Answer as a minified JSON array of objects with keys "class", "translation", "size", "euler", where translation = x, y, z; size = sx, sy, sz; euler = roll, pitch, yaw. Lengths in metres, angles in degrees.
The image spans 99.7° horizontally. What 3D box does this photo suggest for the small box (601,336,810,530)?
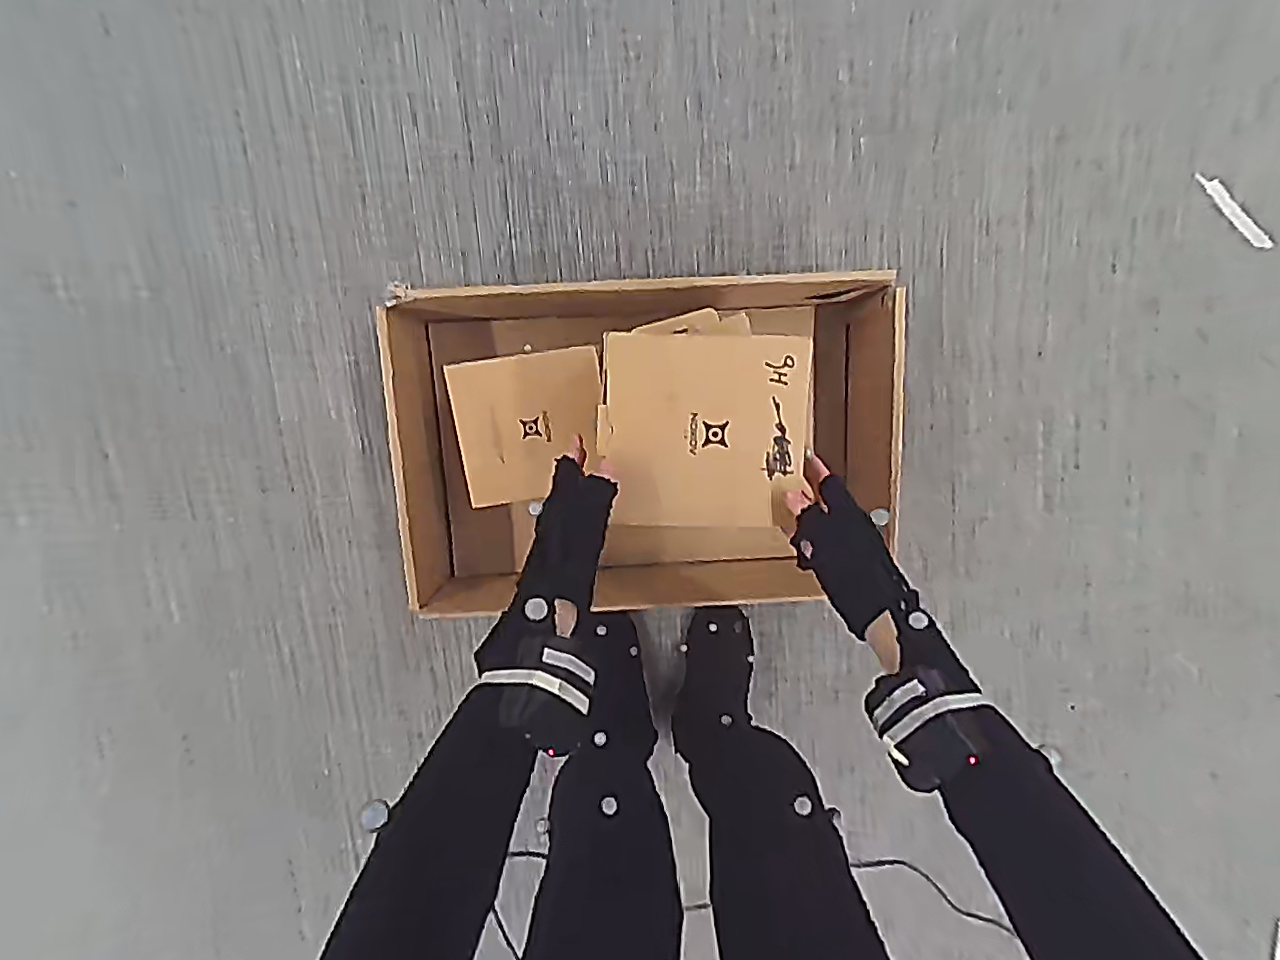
[{"class":"small box","translation":[0.056,-0.051,0.545],"size":[0.179,0.176,0.168],"euler":[1,100,0]}]
